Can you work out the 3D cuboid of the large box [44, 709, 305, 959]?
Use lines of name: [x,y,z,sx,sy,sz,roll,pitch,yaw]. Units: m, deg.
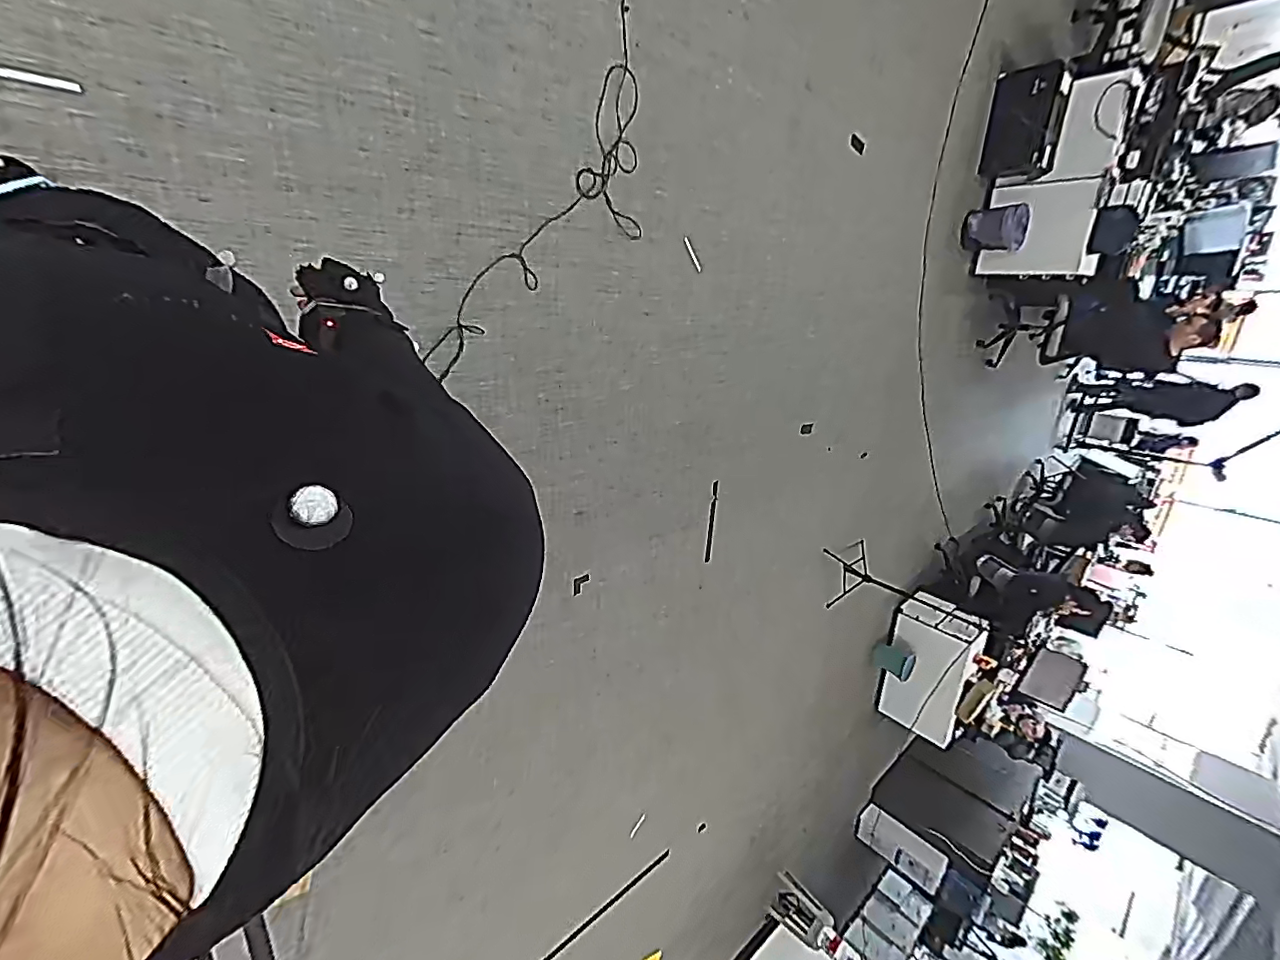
large box: [-1.017,0.782,1.214,0.408,0.320,0.320,1,103,-42]
